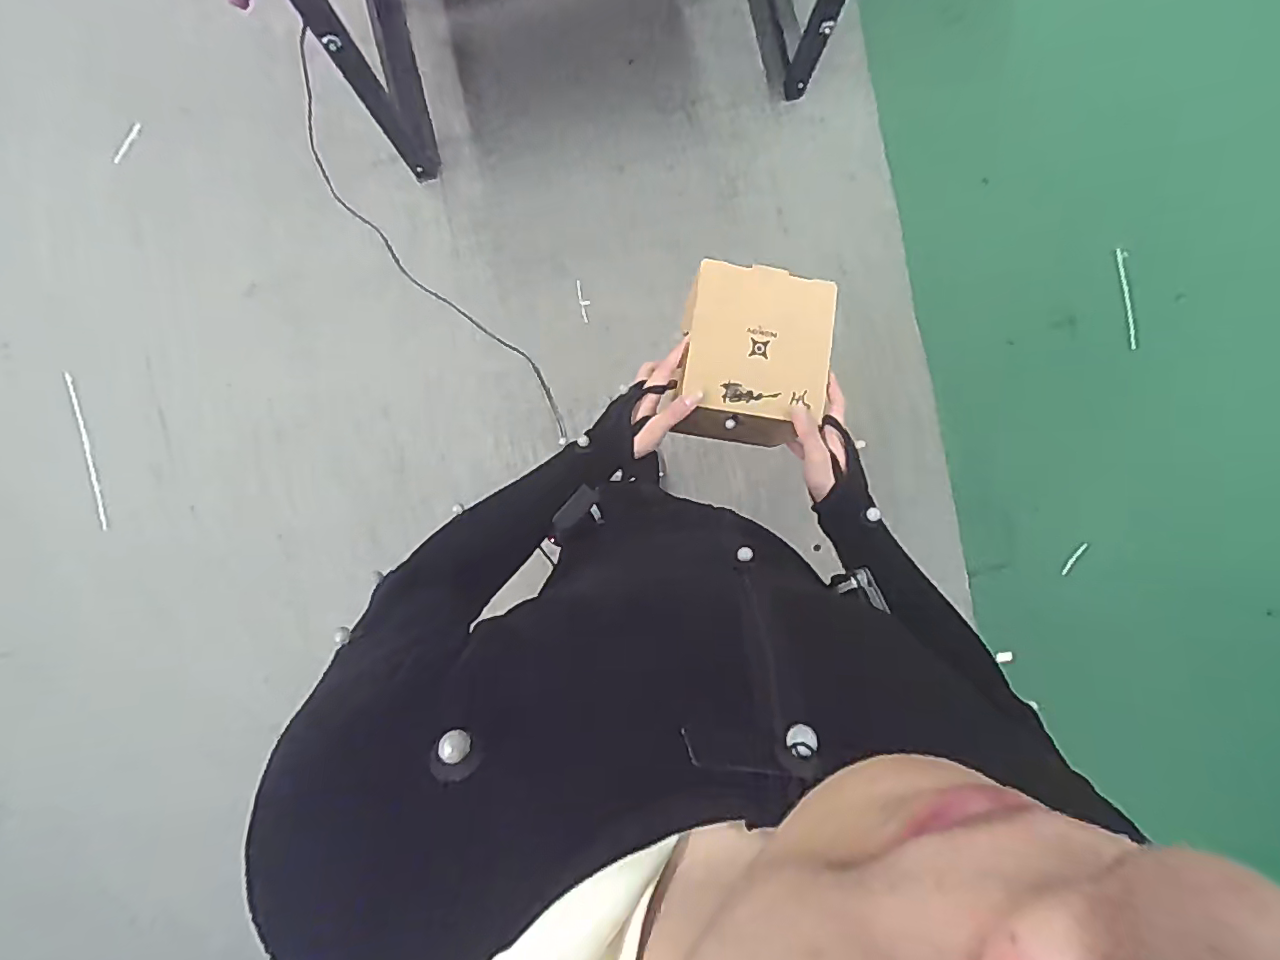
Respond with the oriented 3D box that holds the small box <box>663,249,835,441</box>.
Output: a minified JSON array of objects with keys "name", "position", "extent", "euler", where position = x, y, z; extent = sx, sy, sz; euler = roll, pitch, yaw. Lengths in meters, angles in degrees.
[{"name":"small box","position":[0.128,-0.159,0.693],"extent":[0.168,0.176,0.179],"euler":[9,84,-4]}]
